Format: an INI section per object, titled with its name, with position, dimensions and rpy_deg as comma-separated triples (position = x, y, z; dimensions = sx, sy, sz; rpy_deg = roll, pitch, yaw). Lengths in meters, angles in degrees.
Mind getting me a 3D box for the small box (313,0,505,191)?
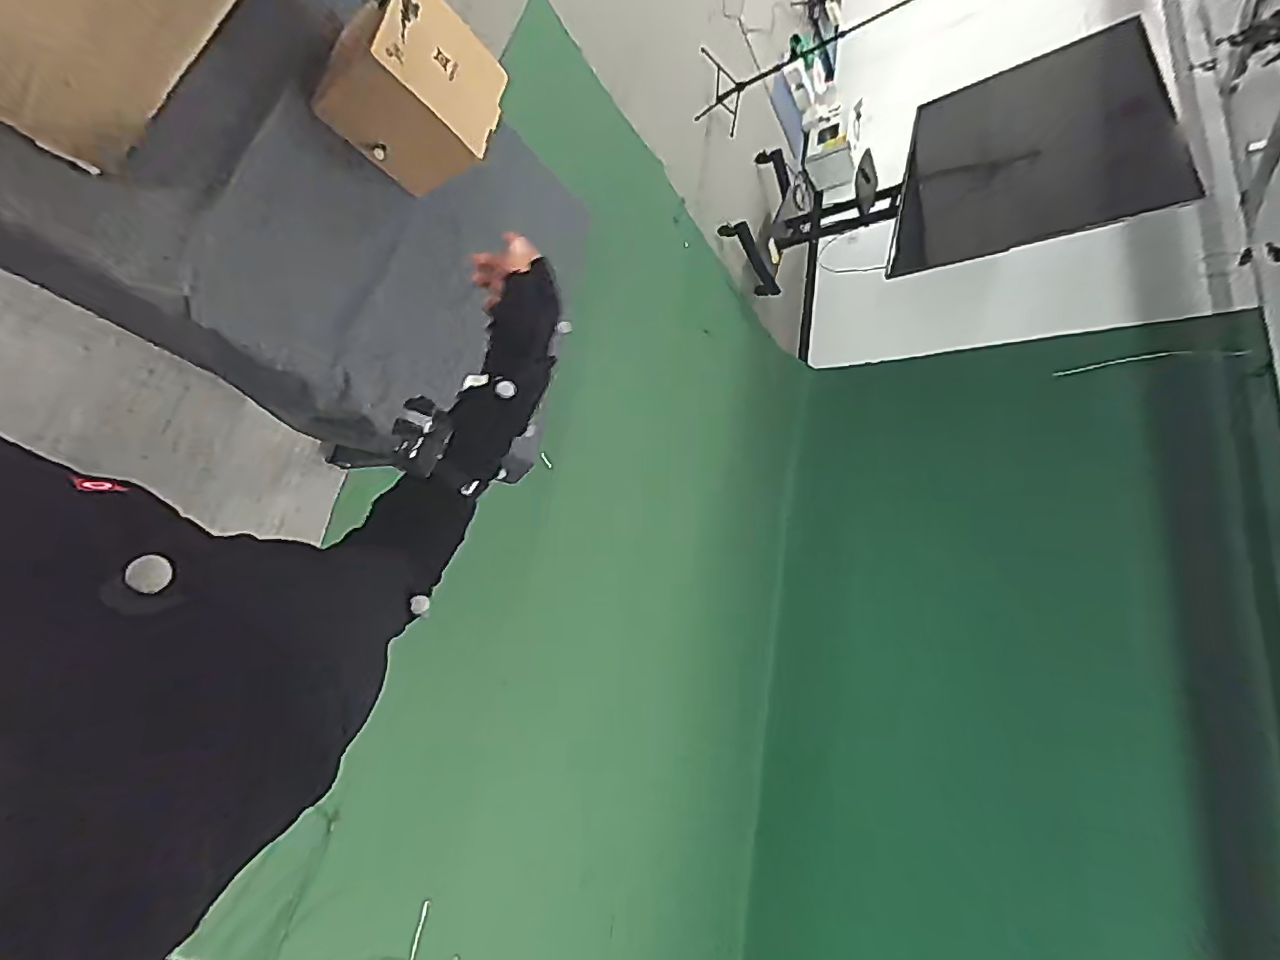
[small box]
position = -0.334, -0.559, 0.793
dimensions = 0.179, 0.176, 0.168
rpy_deg = 29, 65, -49
